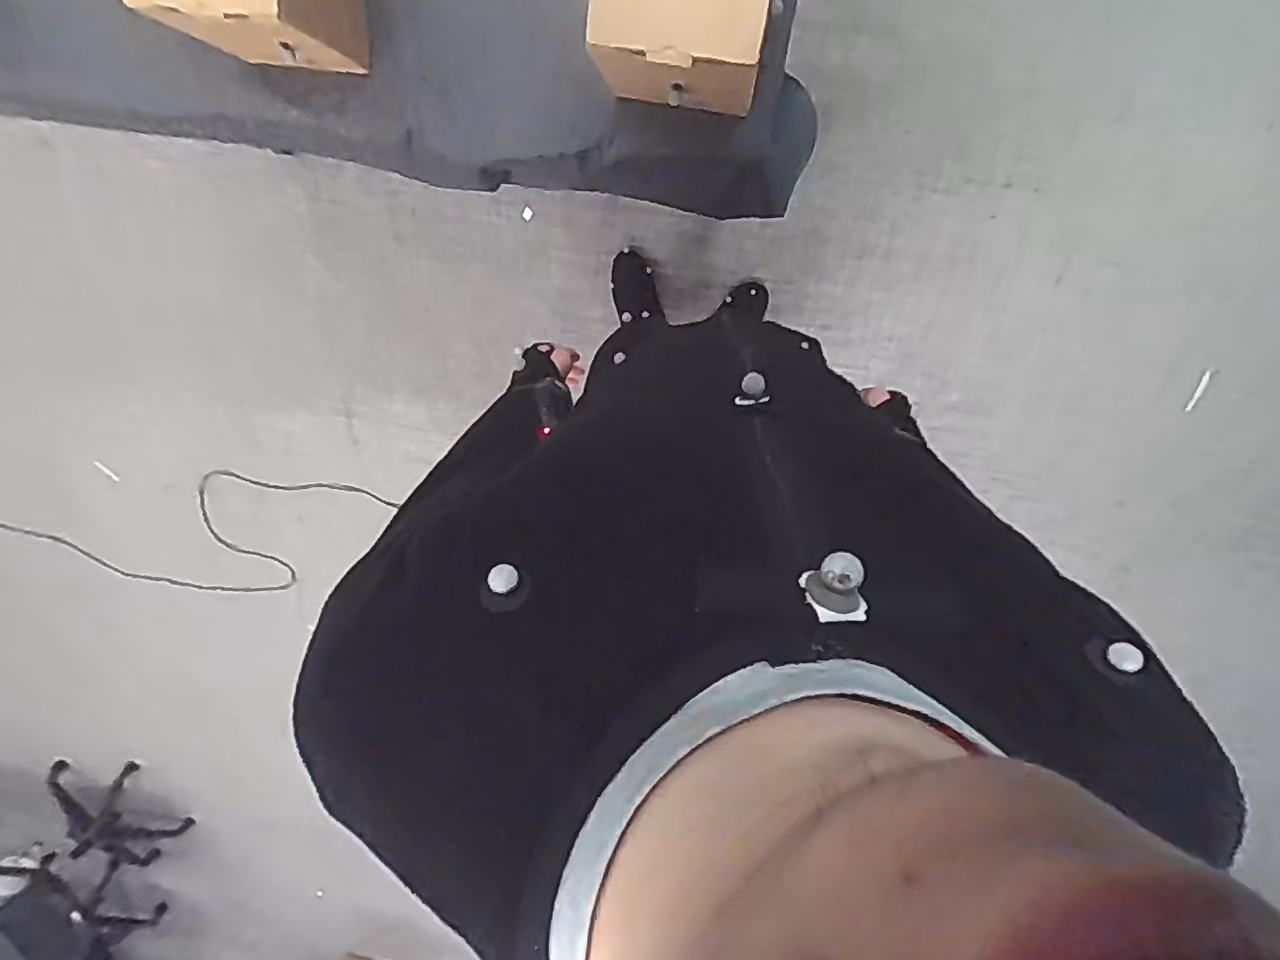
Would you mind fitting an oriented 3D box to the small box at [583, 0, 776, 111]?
[{"bbox_3d":[0.052,-0.493,0.535,0.168,0.176,0.179,12,112,4],"label":"small box"}]

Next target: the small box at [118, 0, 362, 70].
[{"bbox_3d":[-0.415,-0.563,0.565,0.168,0.176,0.179,7,111,2],"label":"small box"}]
